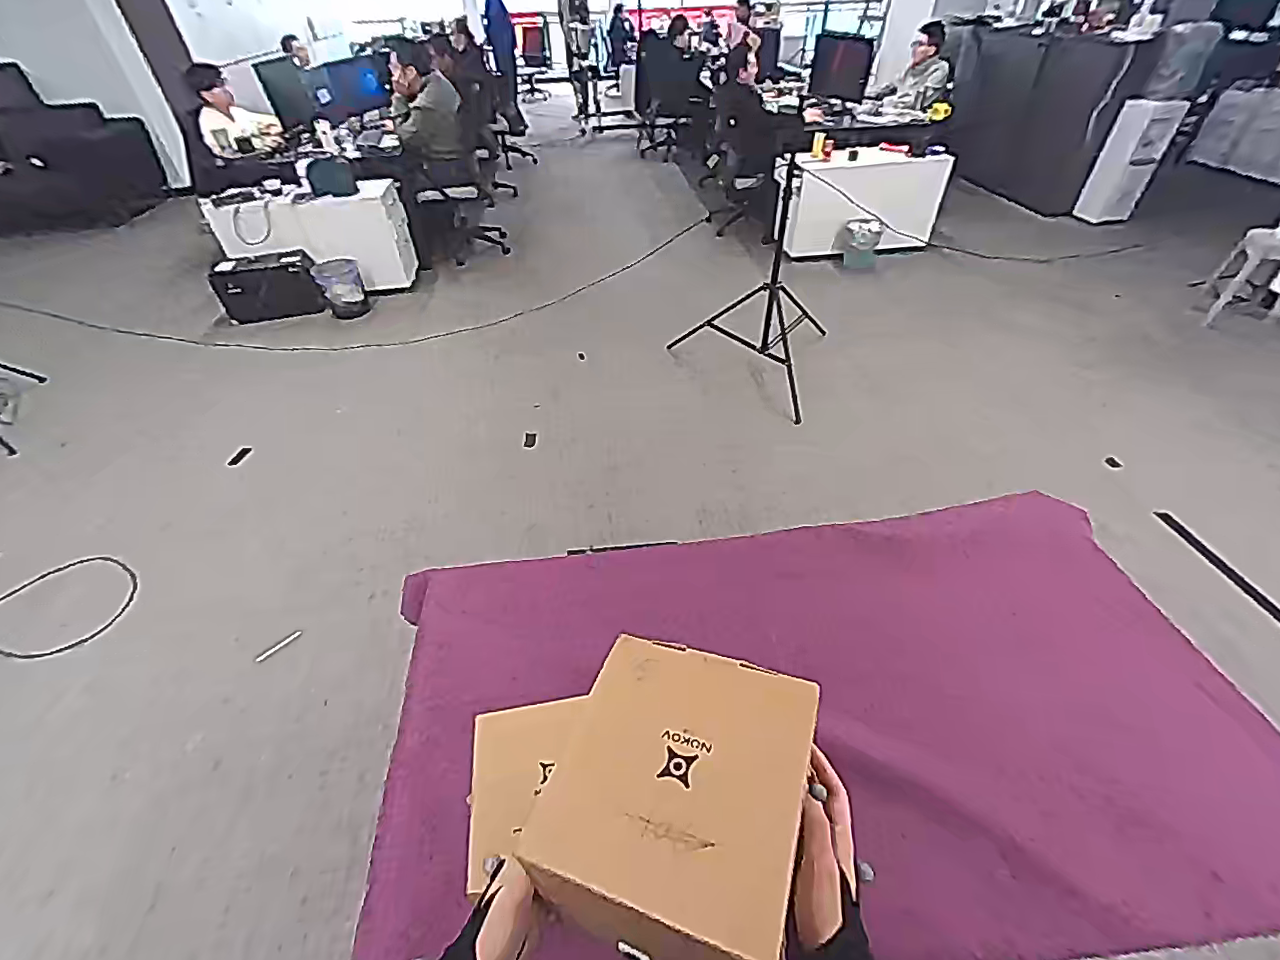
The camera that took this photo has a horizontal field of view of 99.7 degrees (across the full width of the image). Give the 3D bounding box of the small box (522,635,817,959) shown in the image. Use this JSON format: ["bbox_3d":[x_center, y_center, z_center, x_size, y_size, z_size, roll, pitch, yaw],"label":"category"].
[{"bbox_3d":[0.037,0.258,0.422,0.168,0.176,0.179,7,40,21],"label":"small box"}]

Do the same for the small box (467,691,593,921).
[{"bbox_3d":[-0.096,0.378,0.633,0.168,0.176,0.179,-8,42,-6],"label":"small box"}]
